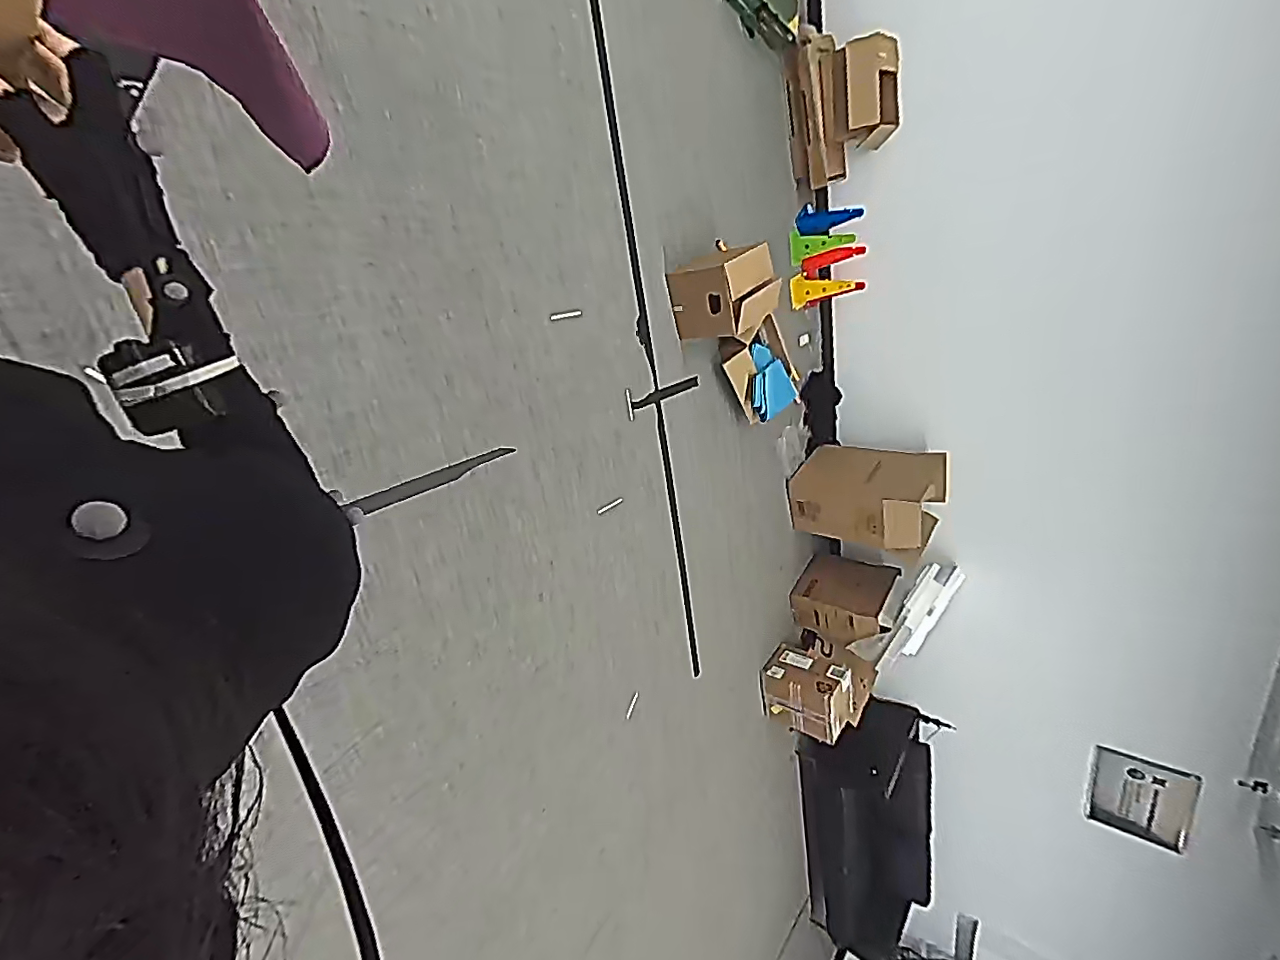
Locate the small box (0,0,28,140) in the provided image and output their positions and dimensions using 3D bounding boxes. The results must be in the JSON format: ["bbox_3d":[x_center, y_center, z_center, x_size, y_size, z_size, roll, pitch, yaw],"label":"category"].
[{"bbox_3d":[-0.479,-0.341,0.301,0.168,0.176,0.179,-11,79,-56],"label":"small box"}]
